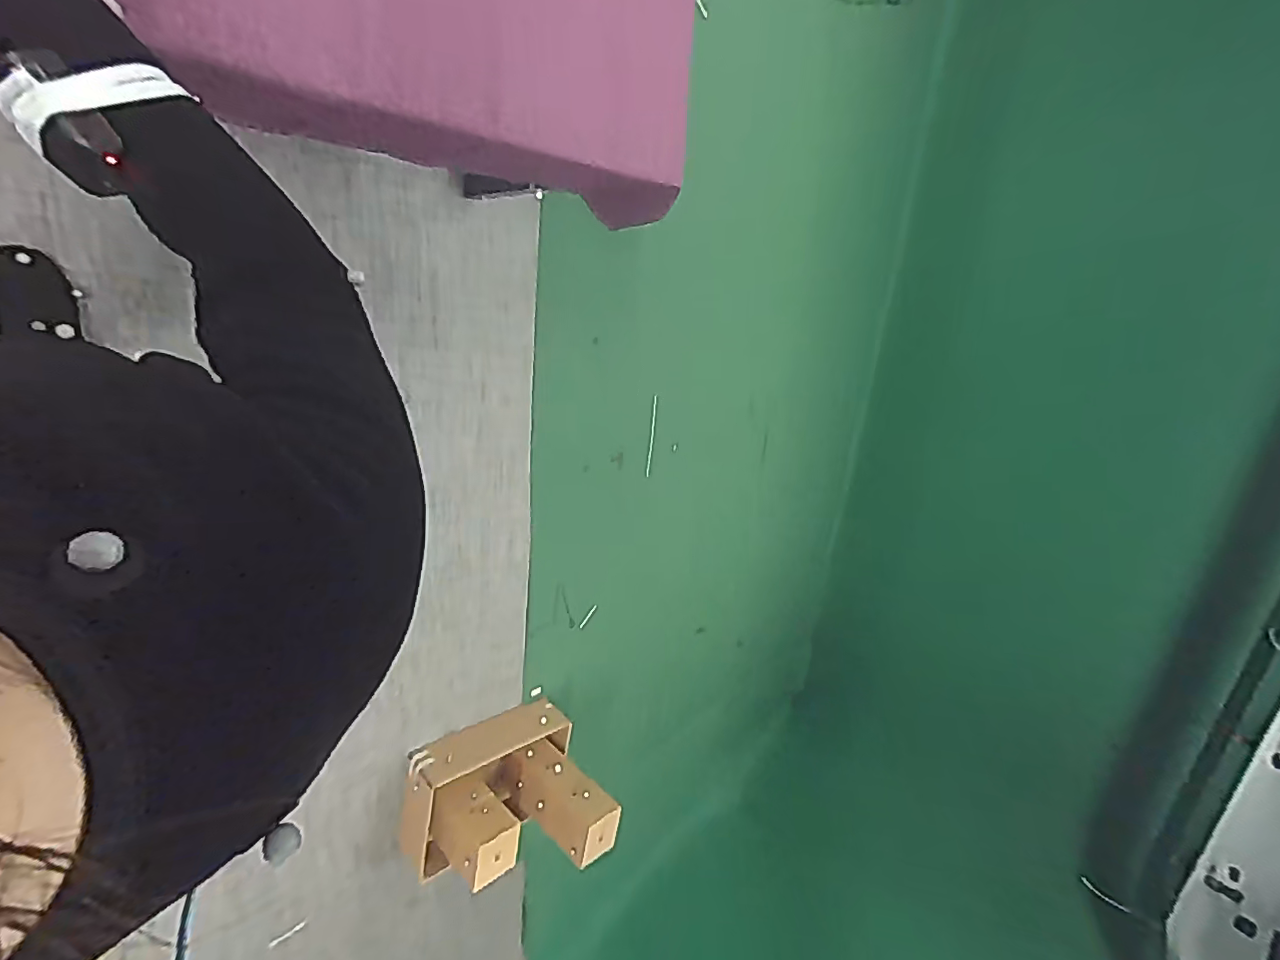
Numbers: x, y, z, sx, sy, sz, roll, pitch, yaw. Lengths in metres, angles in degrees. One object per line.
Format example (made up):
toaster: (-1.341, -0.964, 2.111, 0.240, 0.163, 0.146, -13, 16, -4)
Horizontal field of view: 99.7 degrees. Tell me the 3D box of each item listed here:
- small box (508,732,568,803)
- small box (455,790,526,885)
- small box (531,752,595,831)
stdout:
small box: (-0.420, 1.164, 2.211, 0.168, 0.176, 0.179, 1, 105, -48)
small box: (-0.518, 1.220, 1.858, 0.168, 0.176, 0.179, -4, 107, -49)
small box: (-0.304, 1.204, 2.103, 0.168, 0.176, 0.179, 3, 102, -49)
